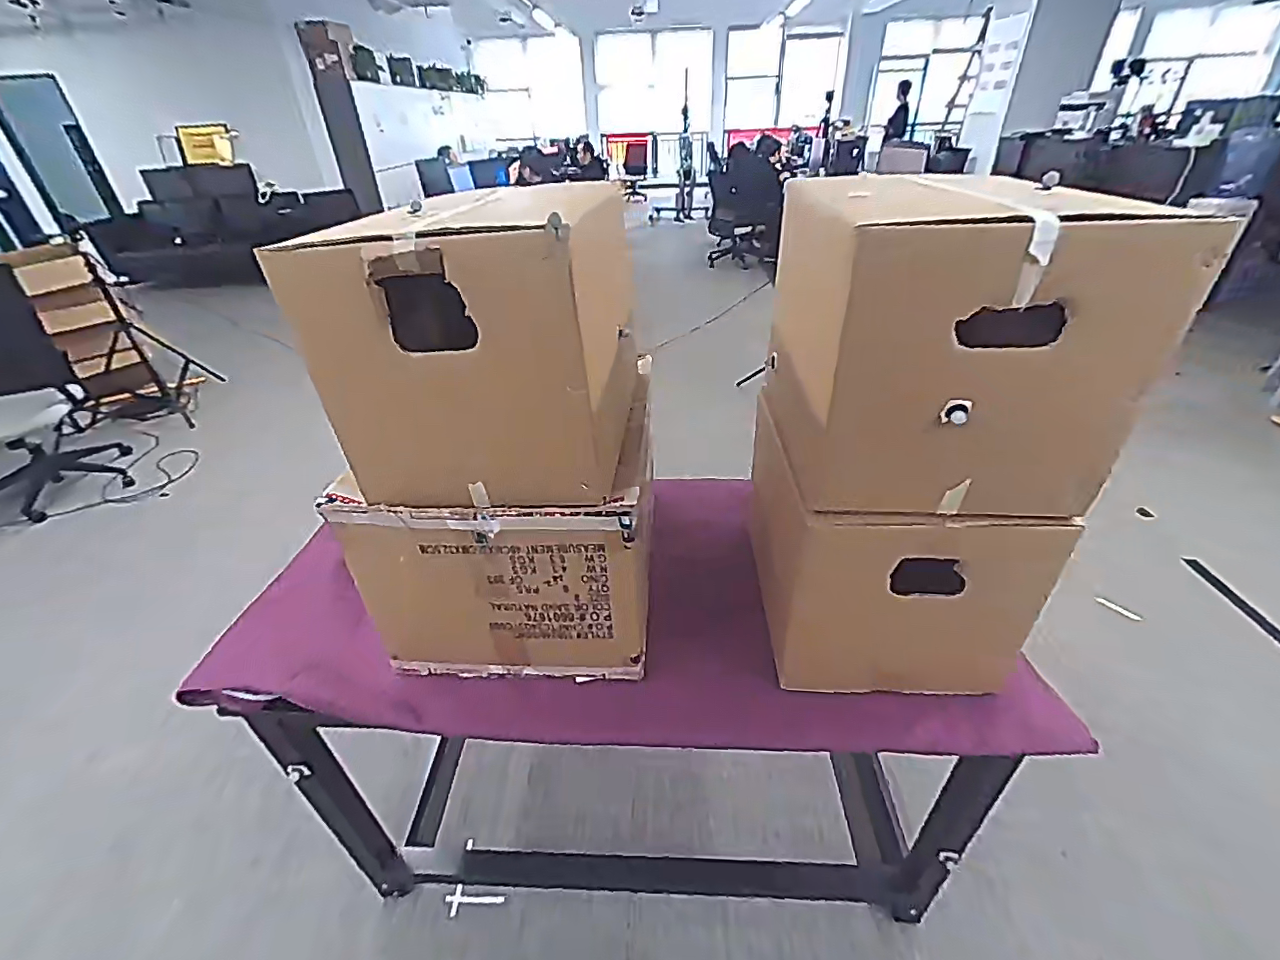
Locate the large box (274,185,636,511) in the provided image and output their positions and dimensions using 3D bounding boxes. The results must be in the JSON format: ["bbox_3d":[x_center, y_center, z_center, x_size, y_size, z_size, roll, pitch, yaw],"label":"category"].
[{"bbox_3d":[-0.177,-0.200,0.743,0.320,0.320,0.408,-3,34,7],"label":"large box"}]
